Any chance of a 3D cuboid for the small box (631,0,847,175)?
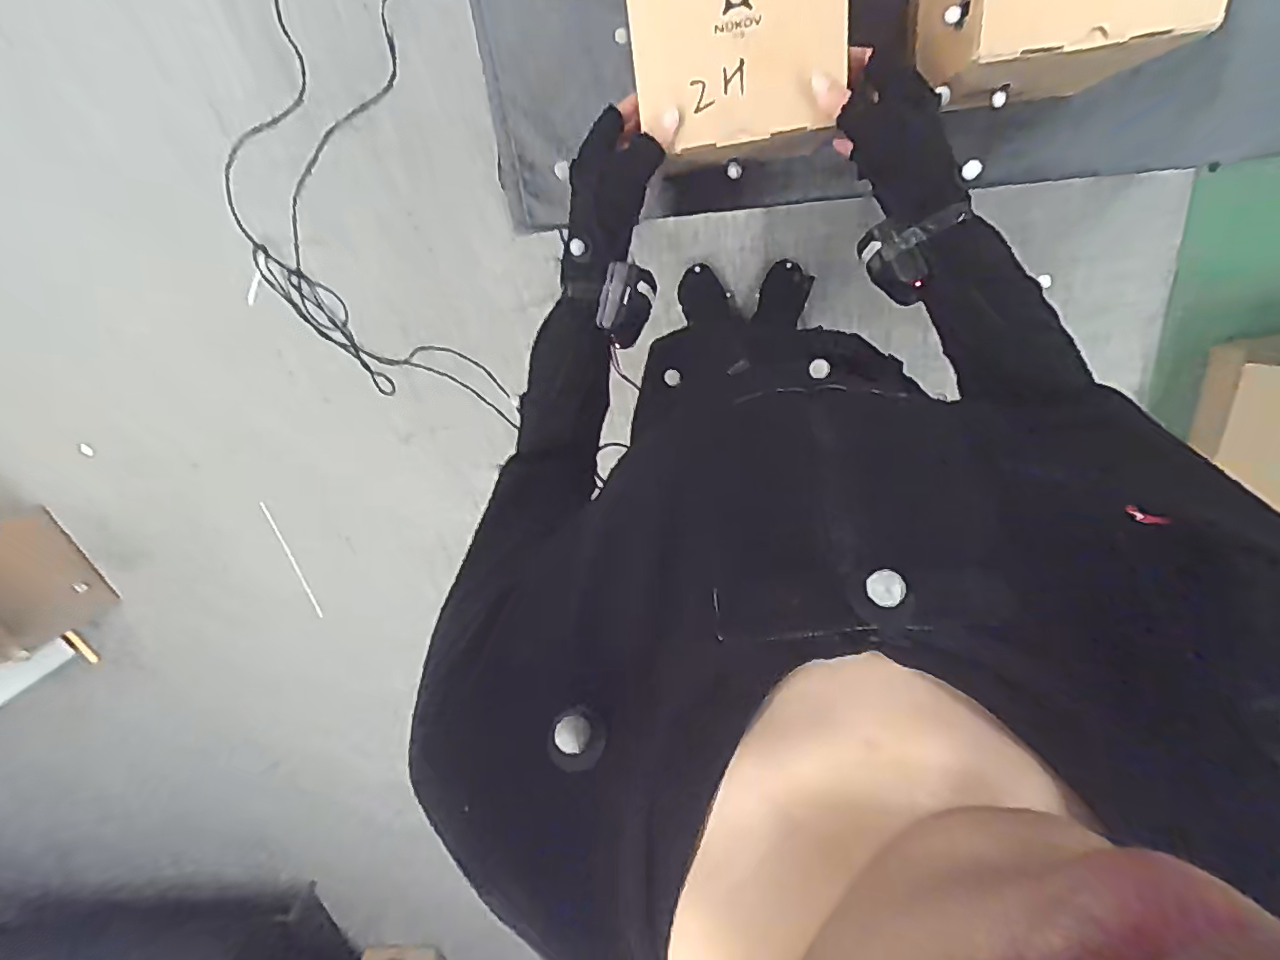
[{"bbox_3d":[0.082,-0.394,0.487,0.168,0.176,0.179,-5,114,9],"label":"small box"}]
